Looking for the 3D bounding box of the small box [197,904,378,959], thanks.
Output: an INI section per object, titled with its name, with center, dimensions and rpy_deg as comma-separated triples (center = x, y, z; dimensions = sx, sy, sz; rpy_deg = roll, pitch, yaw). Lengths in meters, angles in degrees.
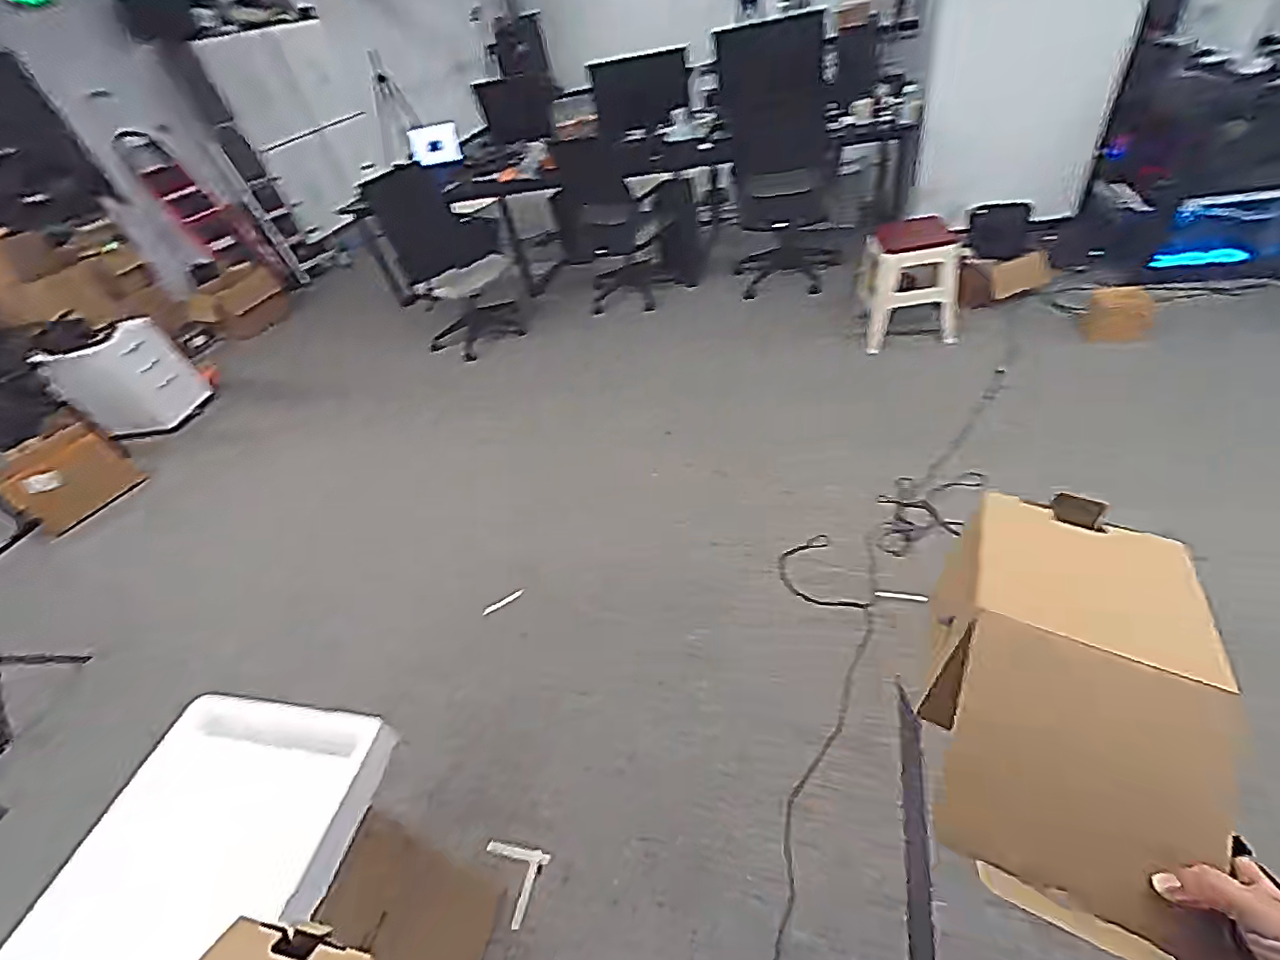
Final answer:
[small box]
center = -0.337, 0.534, 0.470
dimensions = 0.168, 0.176, 0.179
rpy_deg = 3, 16, 15
